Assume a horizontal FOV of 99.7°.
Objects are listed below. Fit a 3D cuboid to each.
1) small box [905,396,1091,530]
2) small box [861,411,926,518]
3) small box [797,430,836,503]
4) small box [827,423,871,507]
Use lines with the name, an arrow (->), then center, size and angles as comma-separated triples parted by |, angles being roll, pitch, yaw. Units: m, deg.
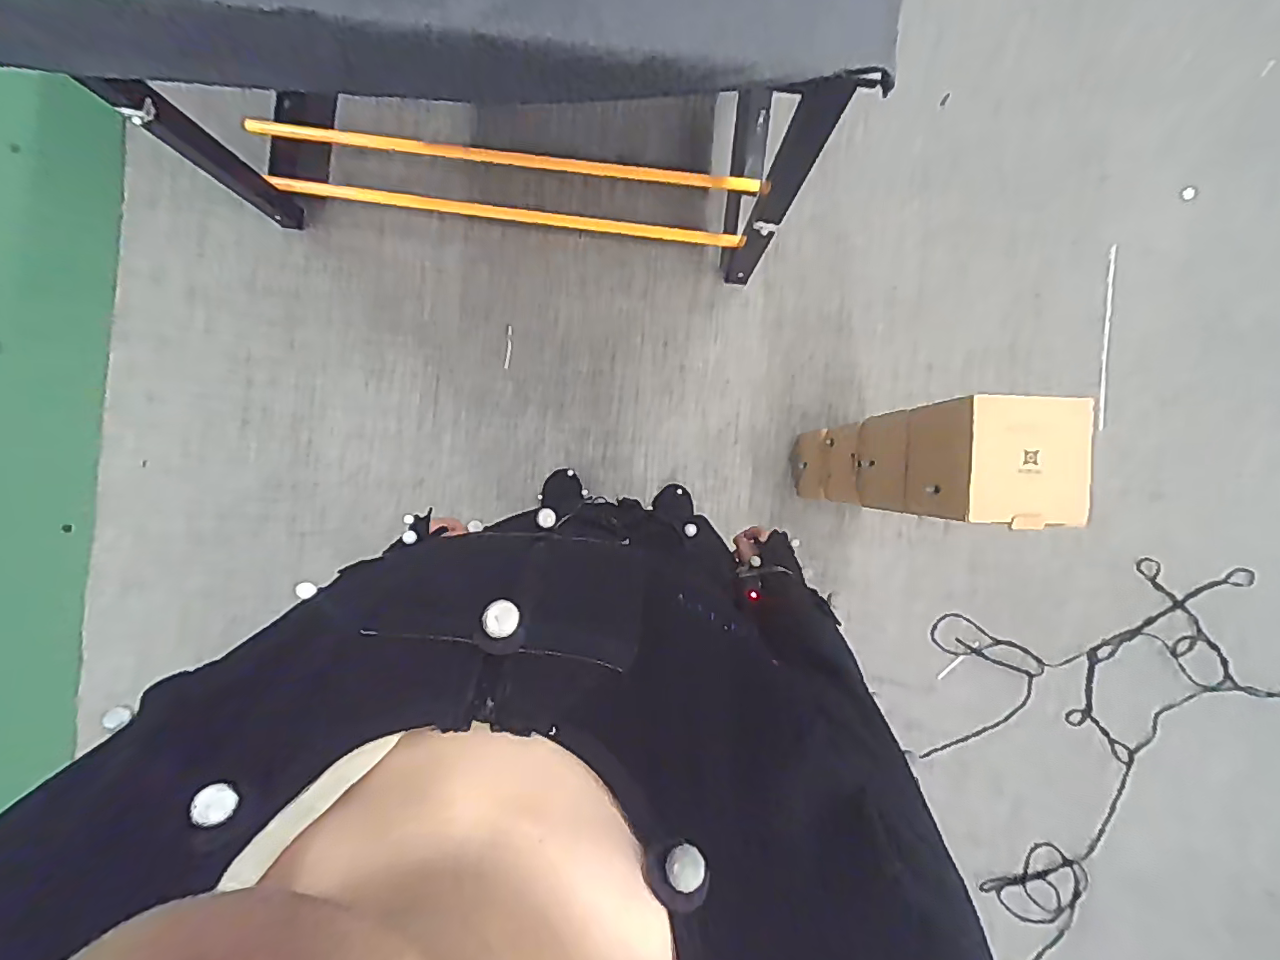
small box -> 0.515, -0.024, 0.801 | 0.168, 0.176, 0.179 | 2, 90, -1
small box -> 0.510, -0.027, 0.964 | 0.168, 0.176, 0.179 | 1, 91, -1
small box -> 0.489, -0.029, 1.292 | 0.179, 0.176, 0.168 | 0, 90, 0
small box -> 0.504, -0.027, 1.128 | 0.179, 0.176, 0.168 | 1, 90, -2
